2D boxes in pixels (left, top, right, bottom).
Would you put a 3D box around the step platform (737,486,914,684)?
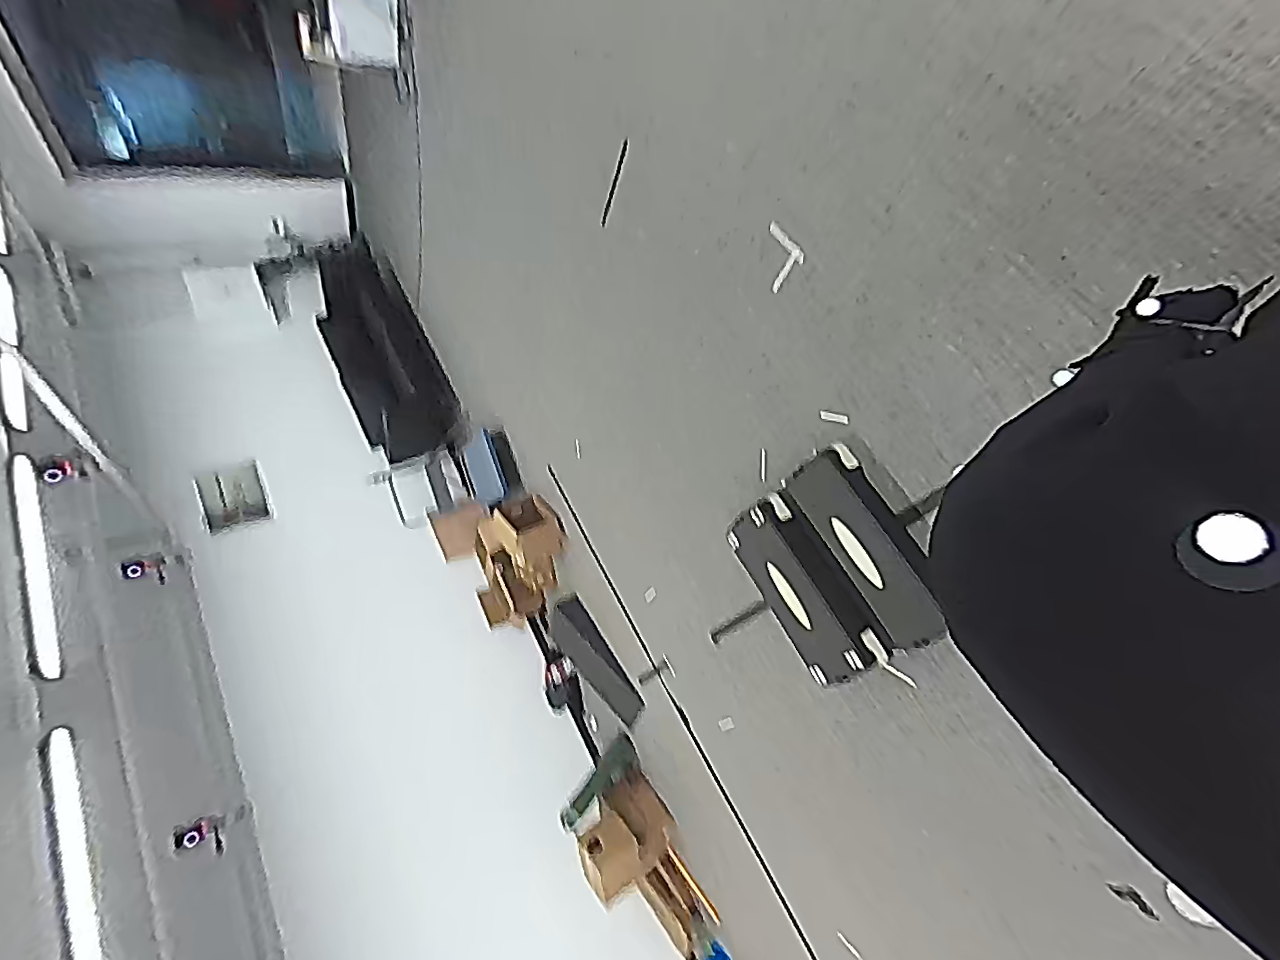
[{"bbox_3d":[0.634,0.371,1.928,0.684,0.204,0.286,60,147,21],"label":"step platform"}]
